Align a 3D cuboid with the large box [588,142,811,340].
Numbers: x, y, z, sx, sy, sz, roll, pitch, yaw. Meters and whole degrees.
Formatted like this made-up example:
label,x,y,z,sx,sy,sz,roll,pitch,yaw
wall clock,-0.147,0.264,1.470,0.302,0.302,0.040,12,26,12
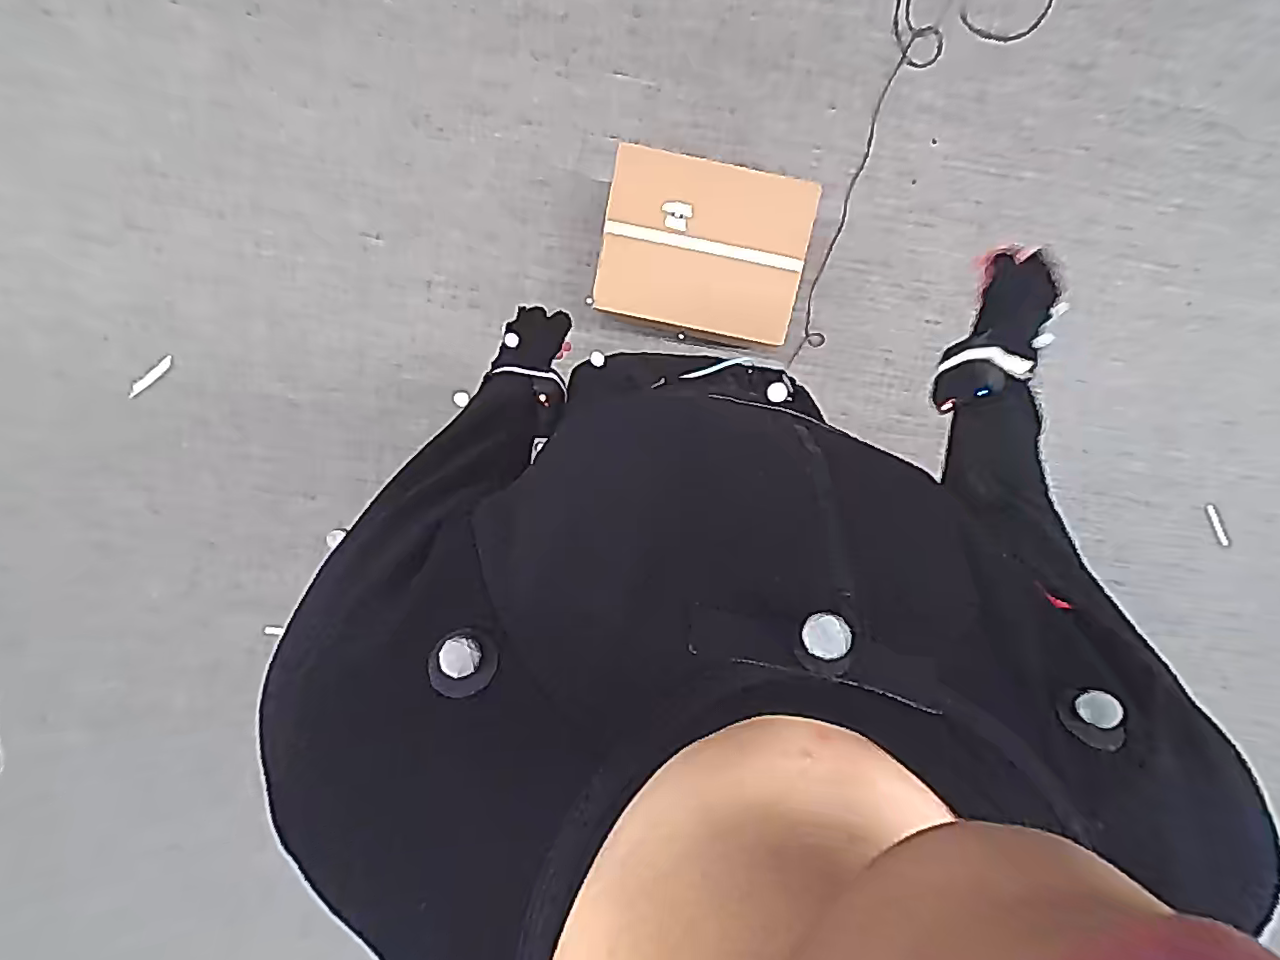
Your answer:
label,x,y,z,sx,sy,sz,roll,pitch,yaw
large box,0.119,-0.506,1.225,0.408,0.320,0.320,11,102,-2
